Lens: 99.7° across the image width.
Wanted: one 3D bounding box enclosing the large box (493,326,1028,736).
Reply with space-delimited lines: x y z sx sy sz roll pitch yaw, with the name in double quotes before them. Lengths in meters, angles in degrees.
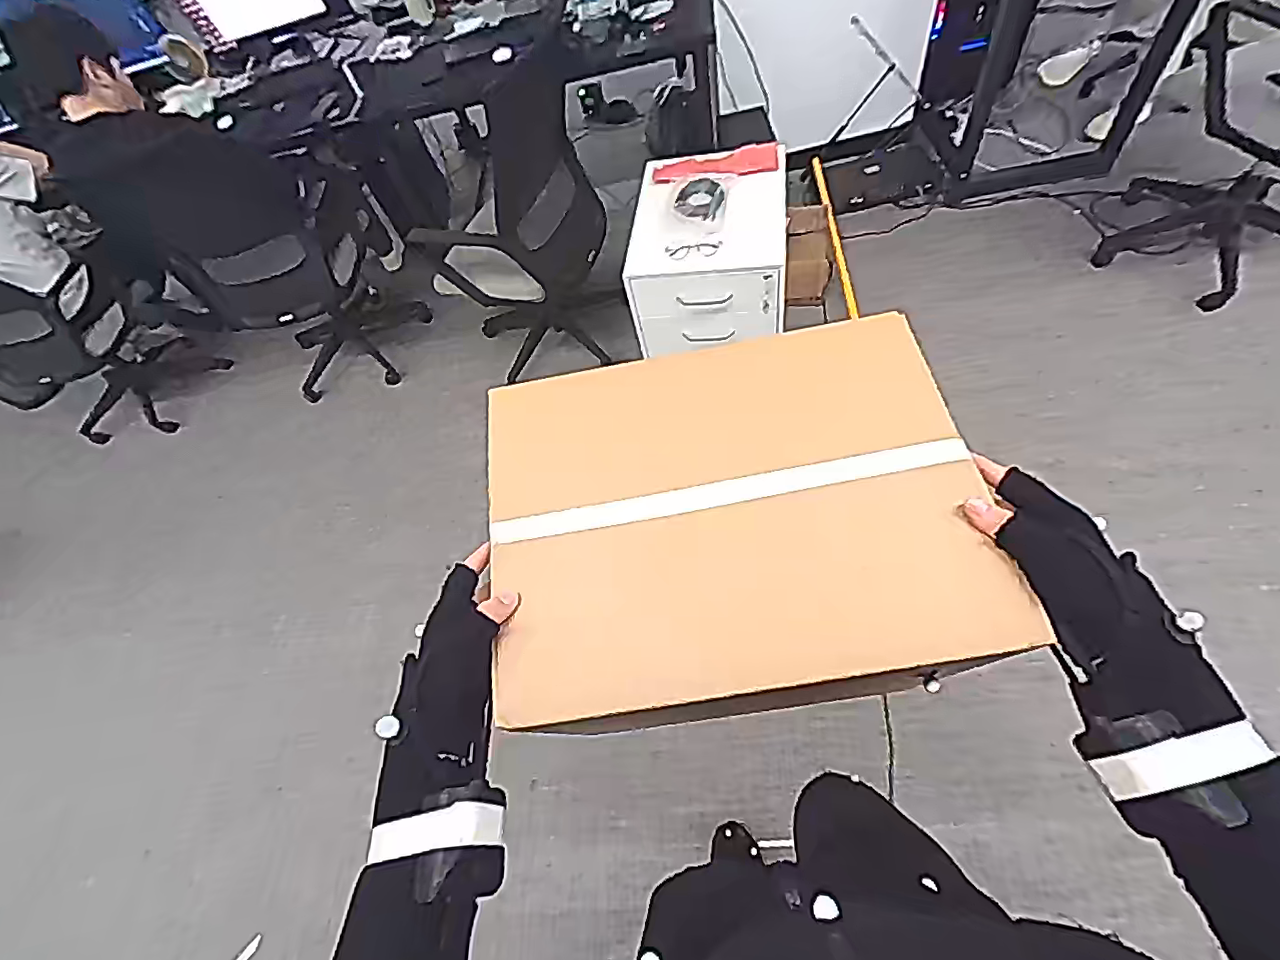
"large box" 0.089 0.084 0.600 0.408 0.320 0.320 -10 63 3
